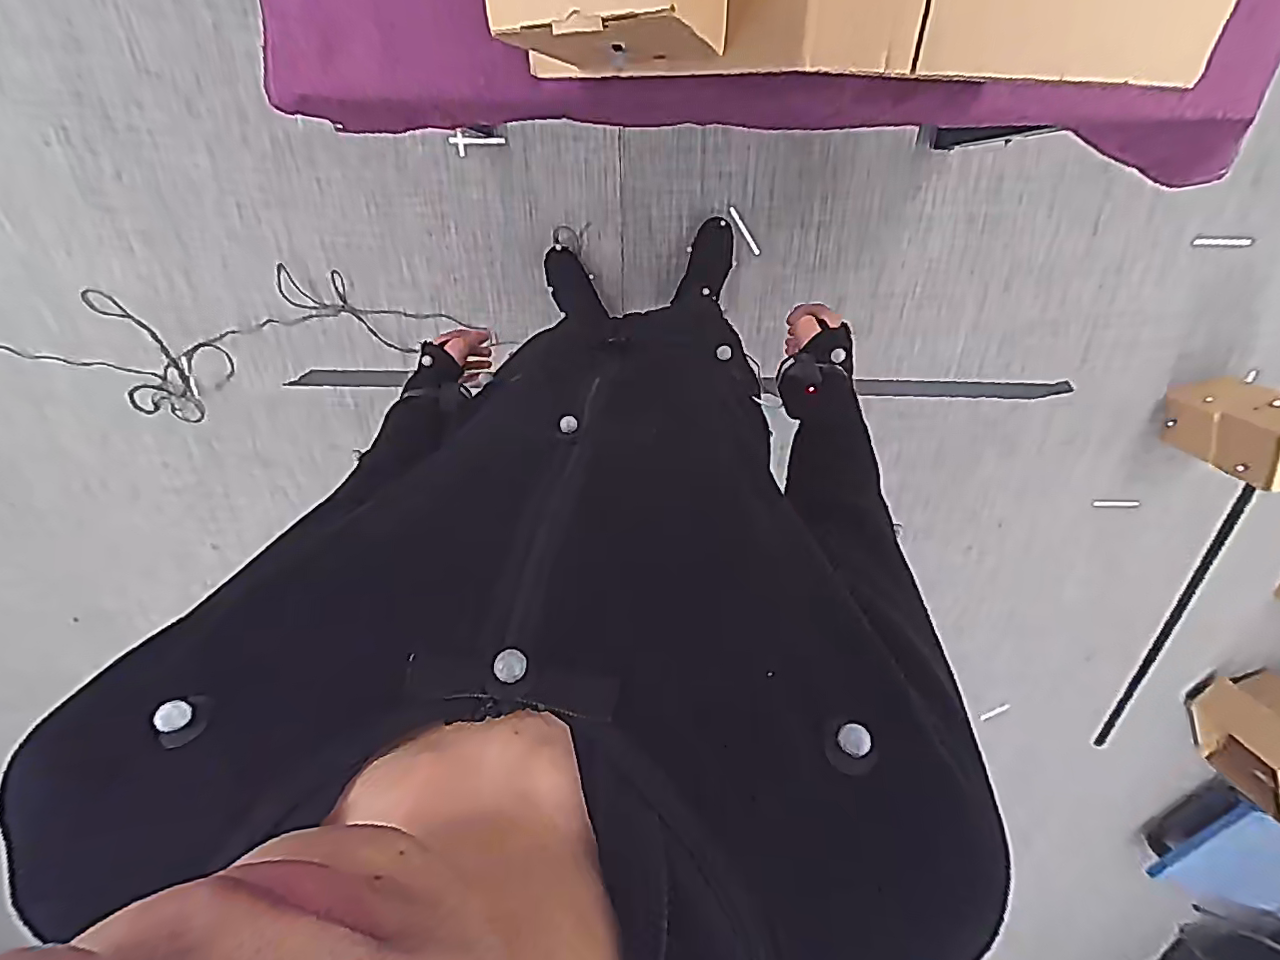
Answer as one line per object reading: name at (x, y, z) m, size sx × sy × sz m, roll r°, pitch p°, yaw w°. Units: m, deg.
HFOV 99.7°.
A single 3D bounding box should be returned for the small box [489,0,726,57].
small box at (-0.020, -0.477, 0.455) m, size 0.168 × 0.176 × 0.179 m, roll 10°, pitch 121°, yaw 18°
